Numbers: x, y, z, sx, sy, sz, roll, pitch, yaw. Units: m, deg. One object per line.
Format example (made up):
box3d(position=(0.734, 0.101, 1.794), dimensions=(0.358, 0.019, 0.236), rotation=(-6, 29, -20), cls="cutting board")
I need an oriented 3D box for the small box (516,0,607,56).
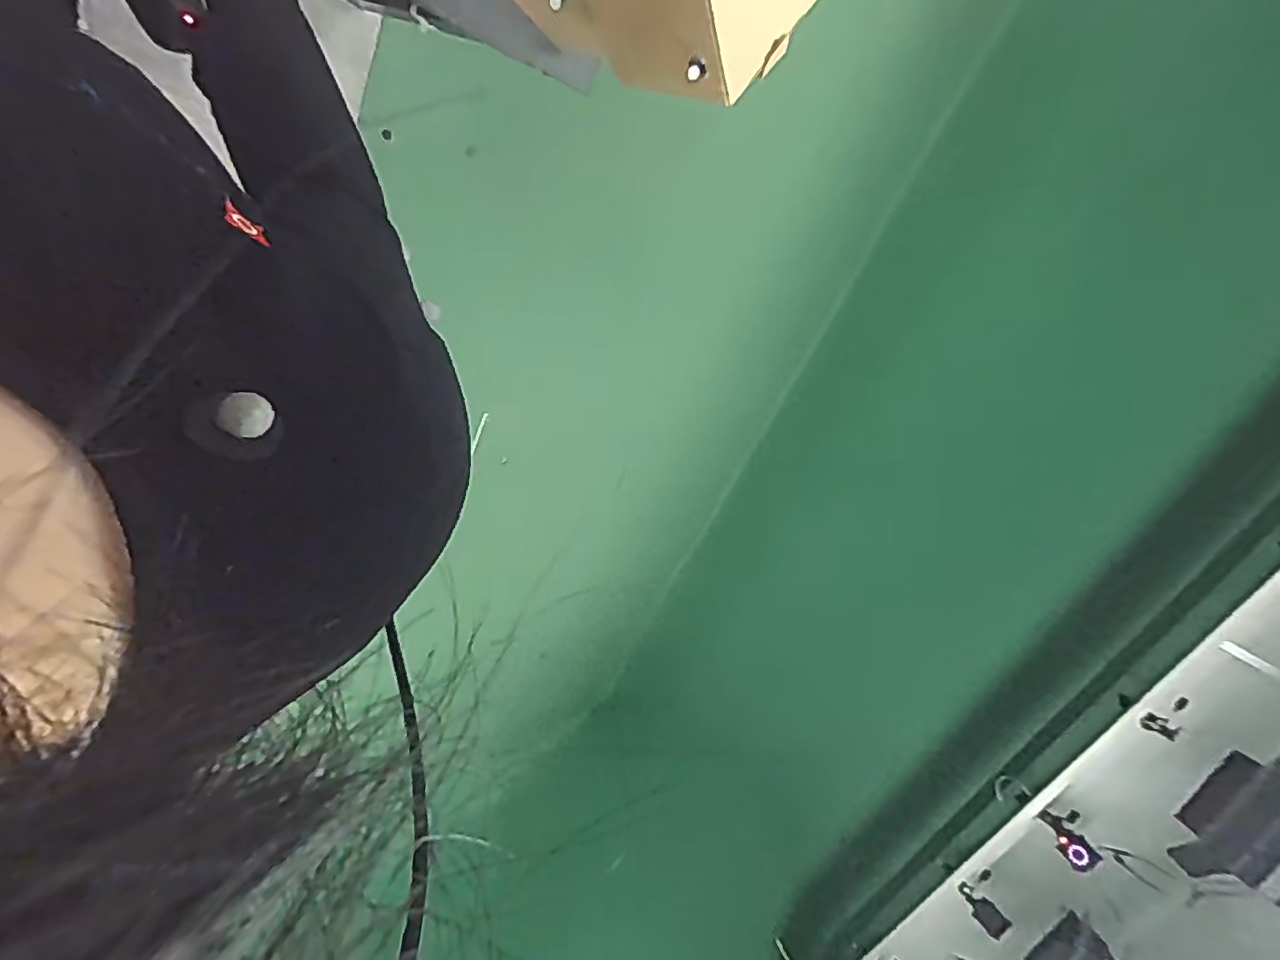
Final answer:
box3d(position=(-0.058, -0.609, 0.603), dimensions=(0.179, 0.176, 0.168), rotation=(6, 115, -57), cls="small box")
